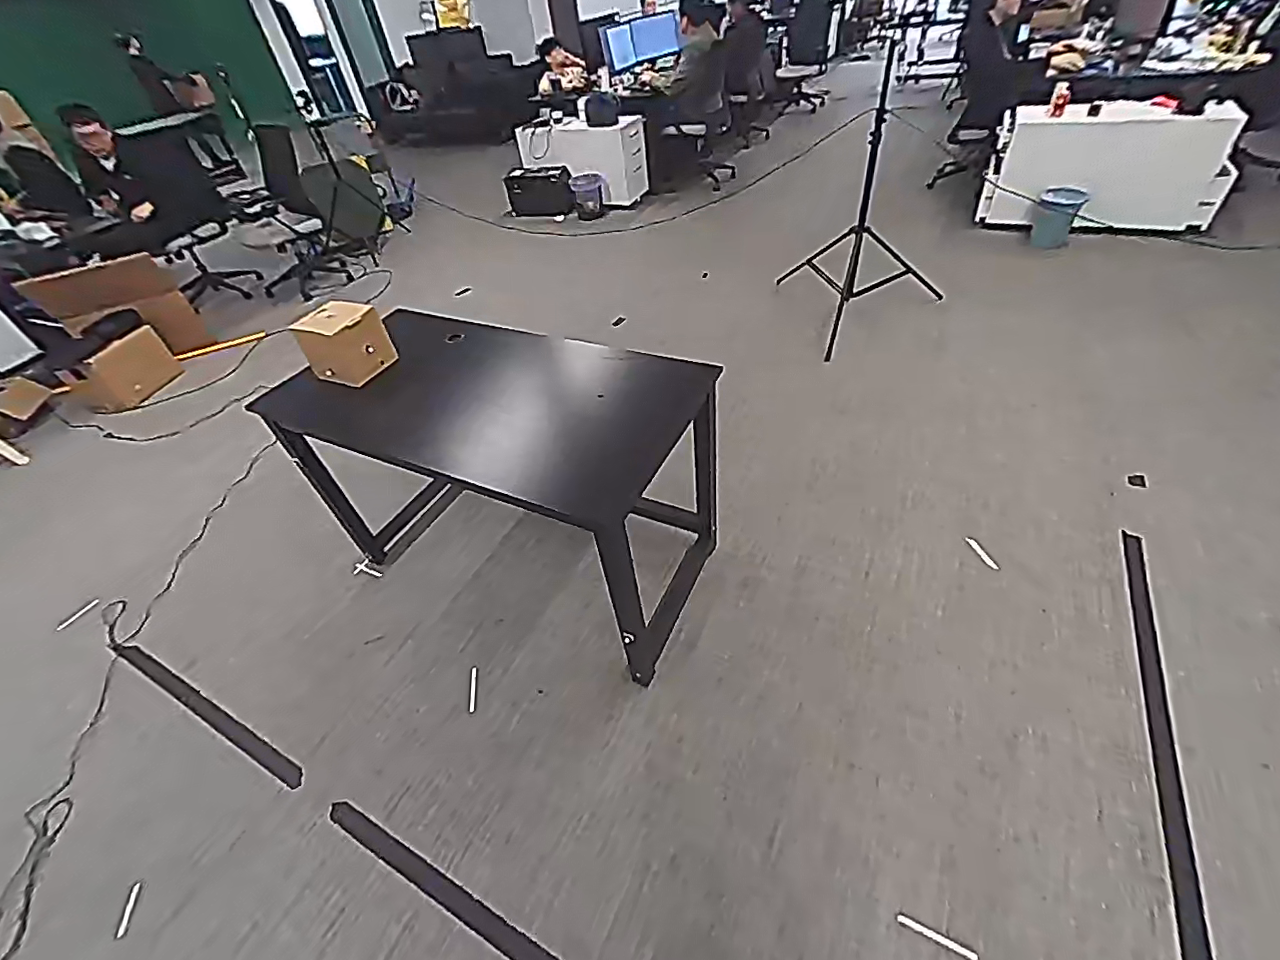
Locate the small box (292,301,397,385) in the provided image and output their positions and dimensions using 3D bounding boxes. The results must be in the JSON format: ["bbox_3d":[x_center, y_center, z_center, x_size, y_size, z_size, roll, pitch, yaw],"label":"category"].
[{"bbox_3d":[-0.844,-0.393,1.563,0.179,0.176,0.168,15,48,21],"label":"small box"}]
